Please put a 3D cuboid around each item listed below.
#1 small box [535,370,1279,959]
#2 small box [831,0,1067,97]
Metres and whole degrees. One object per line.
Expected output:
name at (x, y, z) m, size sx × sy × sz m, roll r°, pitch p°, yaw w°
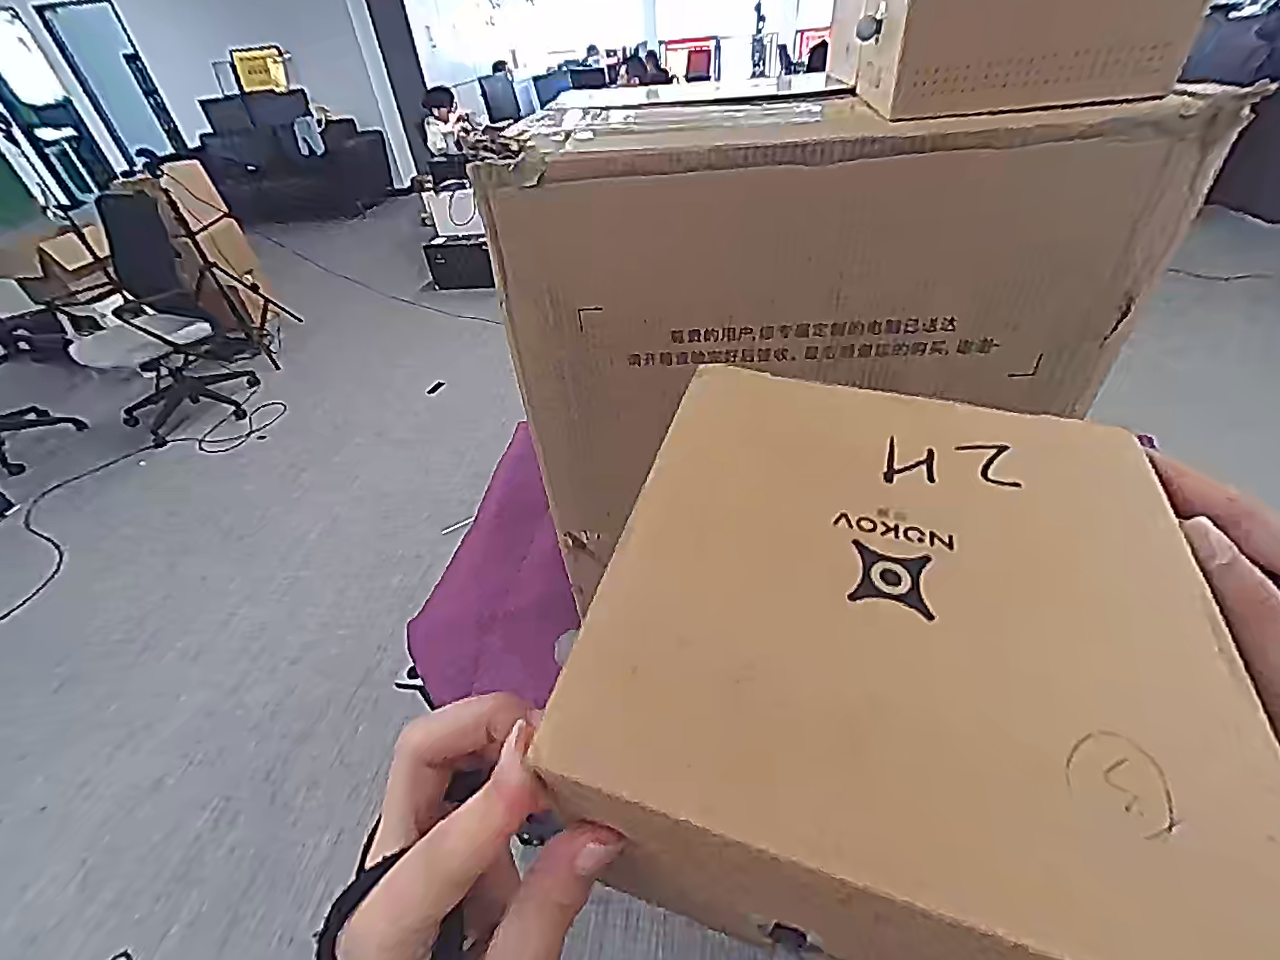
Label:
small box at (0.080, 0.083, 0.223) m, size 0.168 × 0.176 × 0.179 m, roll 13°, pitch 48°, yaw 14°
small box at (0.285, -0.474, 0.509) m, size 0.179 × 0.176 × 0.168 m, roll -1°, pitch 40°, yaw 7°
